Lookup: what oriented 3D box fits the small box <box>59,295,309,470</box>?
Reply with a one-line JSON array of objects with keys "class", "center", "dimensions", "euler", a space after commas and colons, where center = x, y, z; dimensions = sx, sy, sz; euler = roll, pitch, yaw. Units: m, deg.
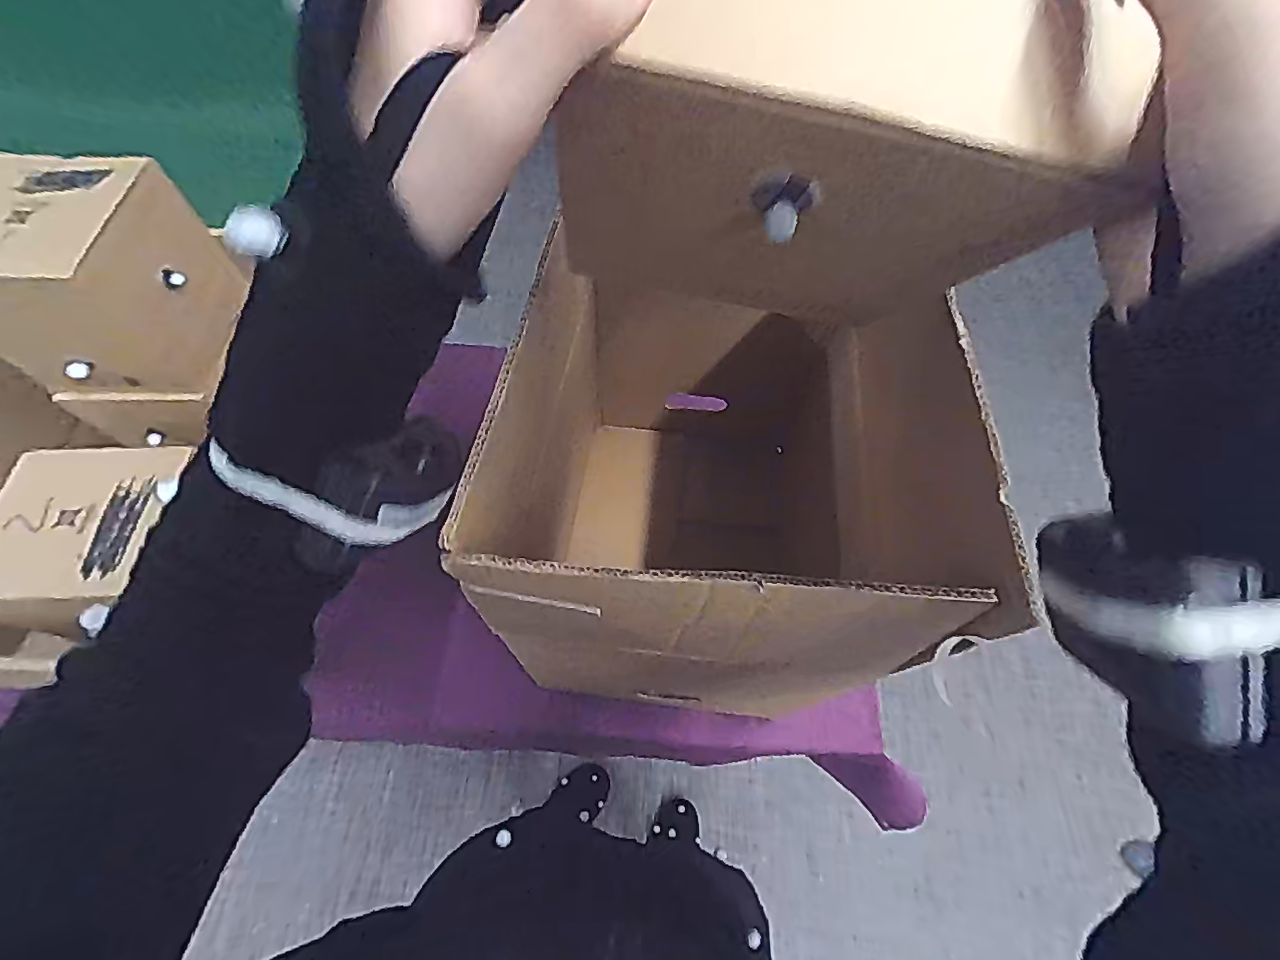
[{"class": "small box", "center": [-0.582, -0.123, 0.724], "dimensions": [0.168, 0.176, 0.179], "euler": [0, 61, -2]}]

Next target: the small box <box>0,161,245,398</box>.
[{"class": "small box", "center": [-0.576, -0.209, 0.583], "dimensions": [0.168, 0.176, 0.179], "euler": [0, 63, -2]}]
